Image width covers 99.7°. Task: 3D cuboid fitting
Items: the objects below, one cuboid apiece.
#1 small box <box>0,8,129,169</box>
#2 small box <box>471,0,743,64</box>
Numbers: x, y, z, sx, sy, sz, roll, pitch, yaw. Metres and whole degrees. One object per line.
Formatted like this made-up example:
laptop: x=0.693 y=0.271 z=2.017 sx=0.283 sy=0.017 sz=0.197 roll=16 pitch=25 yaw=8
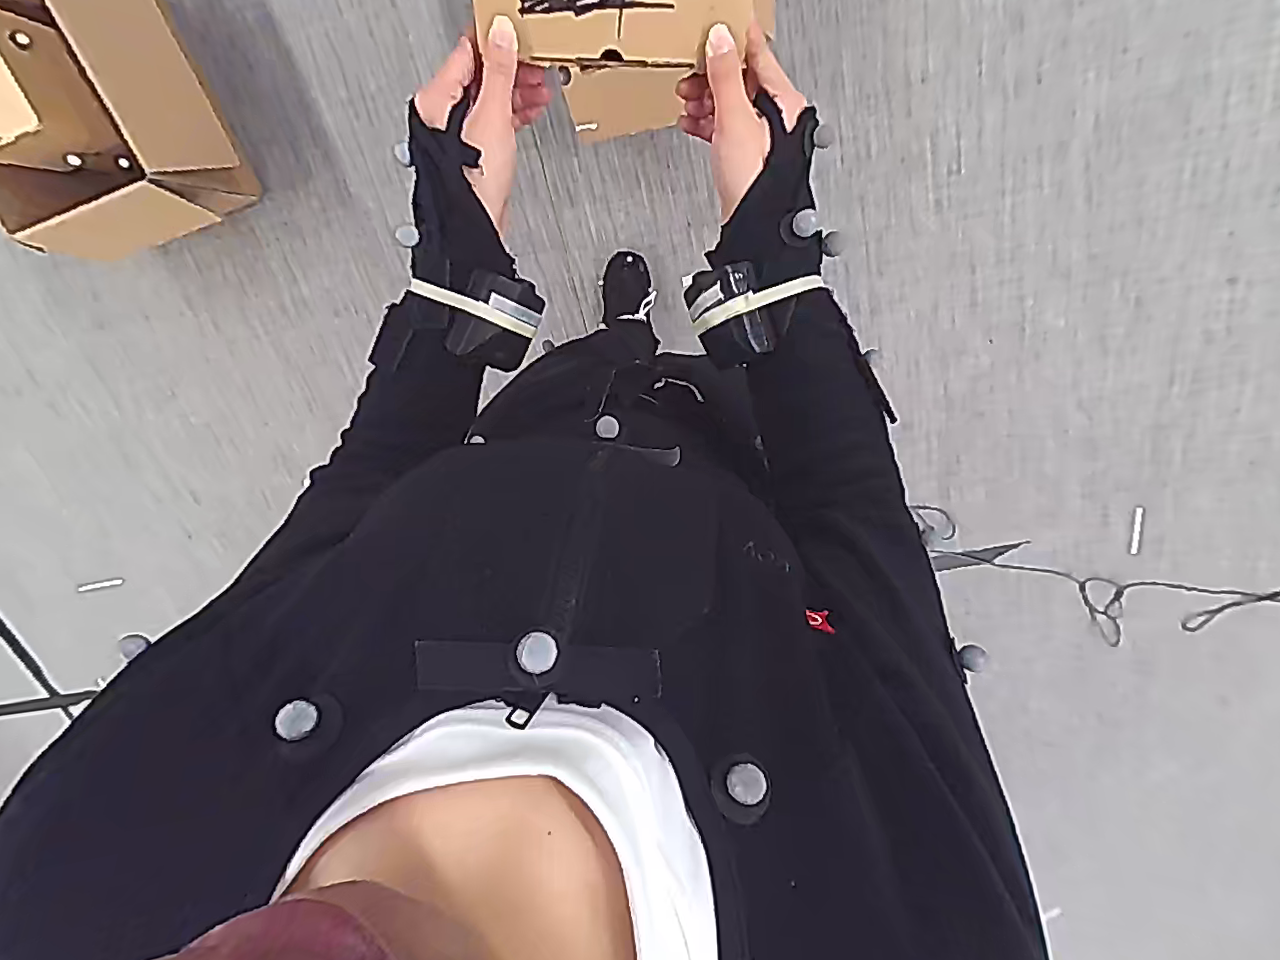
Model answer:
small box: x=-1.053 y=-0.659 z=0.920 sx=0.168 sy=0.176 sz=0.179 roll=-13 pitch=111 yaw=8
small box: x=-0.013 y=-0.380 z=0.345 sx=0.168 sy=0.176 sz=0.179 roll=3 pitch=127 yaw=0
